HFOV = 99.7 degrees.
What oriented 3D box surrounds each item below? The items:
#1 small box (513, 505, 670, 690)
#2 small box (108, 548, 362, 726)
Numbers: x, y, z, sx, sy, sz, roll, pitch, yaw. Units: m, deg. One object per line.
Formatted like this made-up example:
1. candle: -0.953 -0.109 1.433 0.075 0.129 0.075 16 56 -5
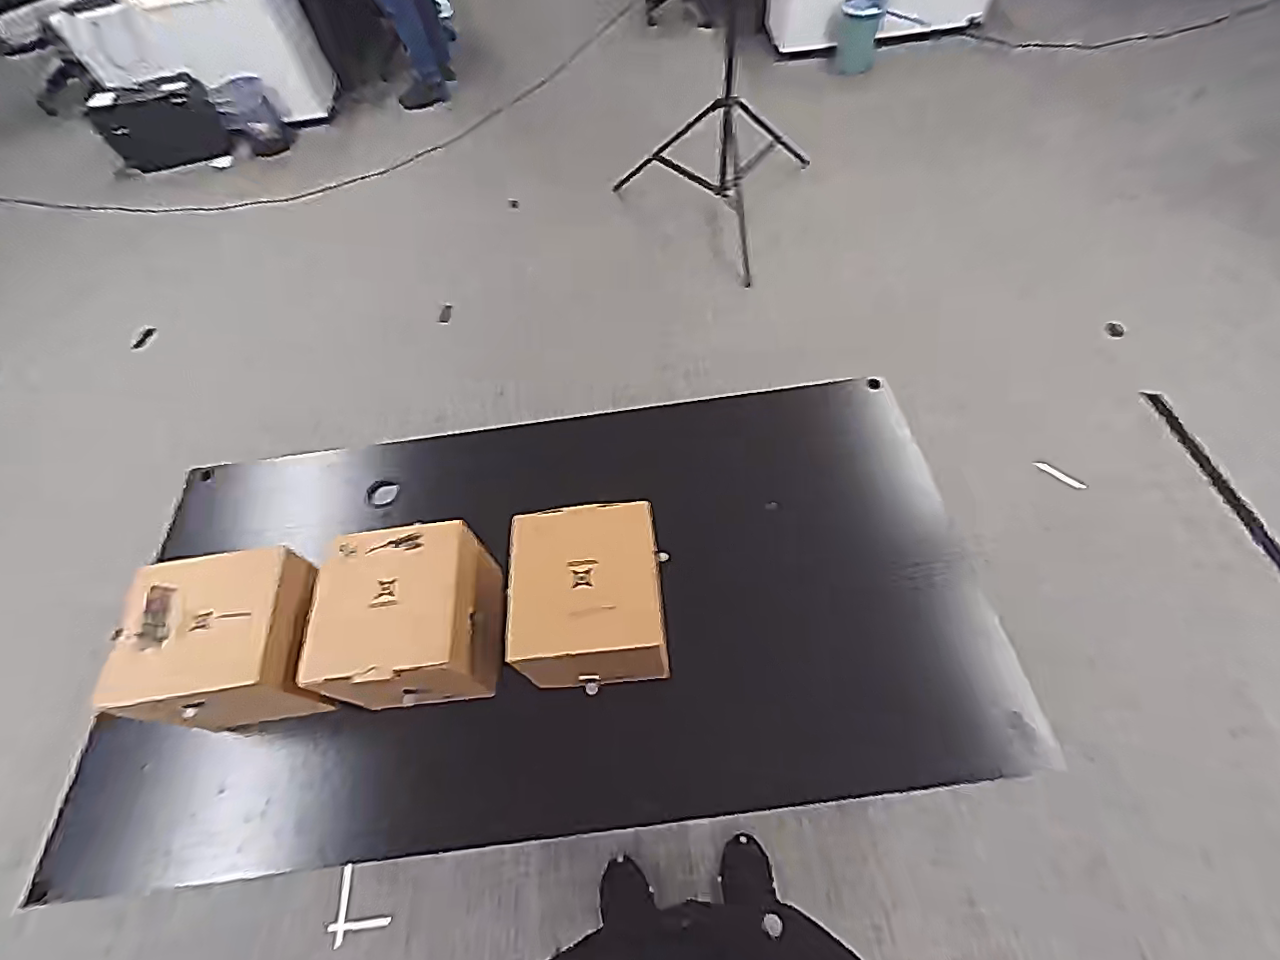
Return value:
1. small box: -0.054 0.154 0.685 0.168 0.176 0.179 -8 59 3
2. small box: -0.492 0.206 0.691 0.179 0.176 0.168 -9 58 -1
